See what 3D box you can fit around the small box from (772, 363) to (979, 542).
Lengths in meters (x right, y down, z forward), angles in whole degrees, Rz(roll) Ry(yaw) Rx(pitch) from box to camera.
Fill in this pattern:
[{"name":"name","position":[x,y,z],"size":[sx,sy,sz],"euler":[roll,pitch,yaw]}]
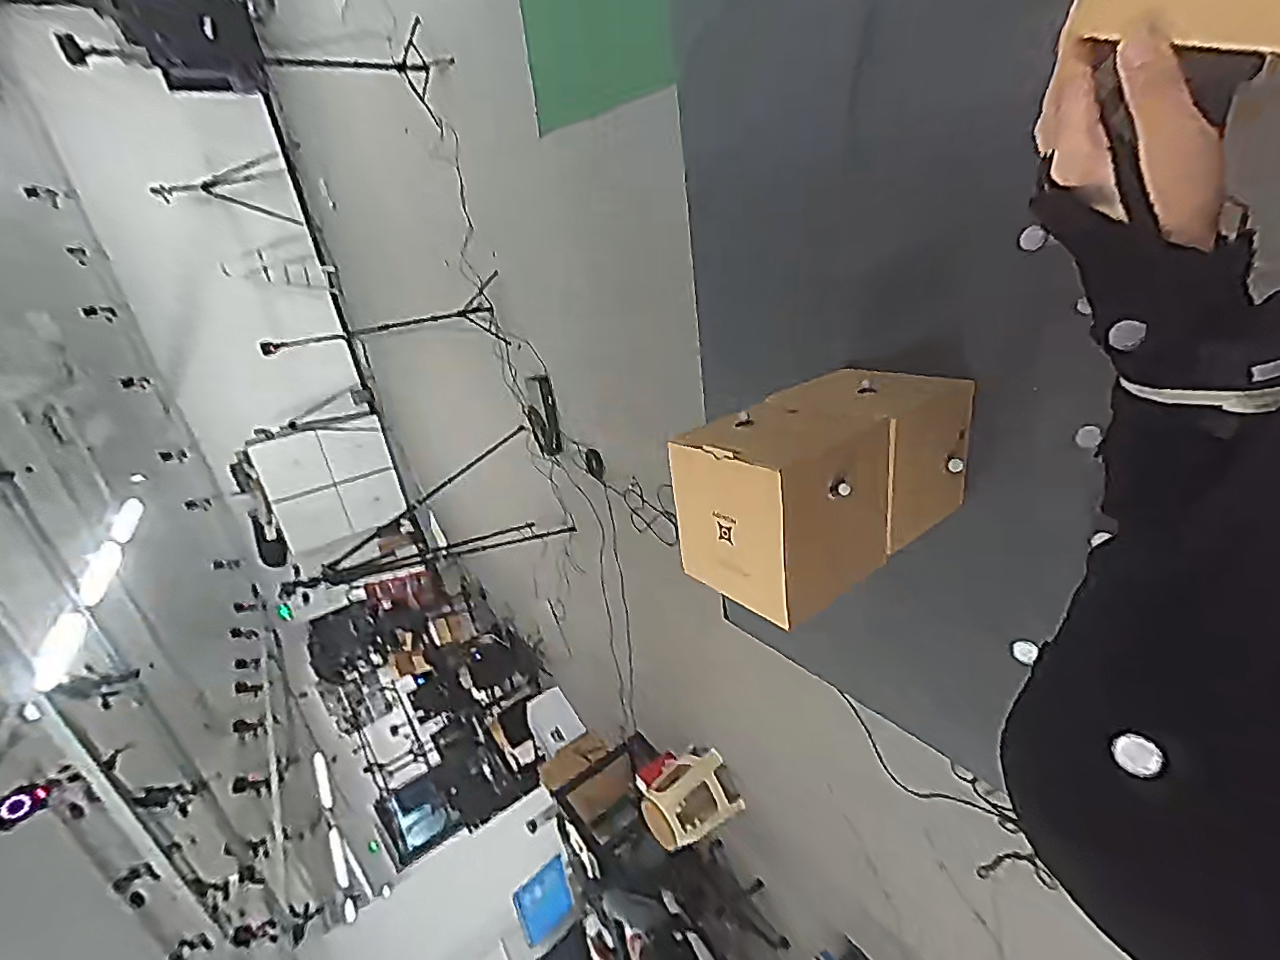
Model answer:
[{"name":"small box","position":[0.290,-0.047,0.686],"size":[0.179,0.176,0.168],"euler":[22,128,50]}]

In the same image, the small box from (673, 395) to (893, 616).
[{"name":"small box","position":[0.162,0.012,0.606],"size":[0.168,0.176,0.179],"euler":[22,128,53]}]
